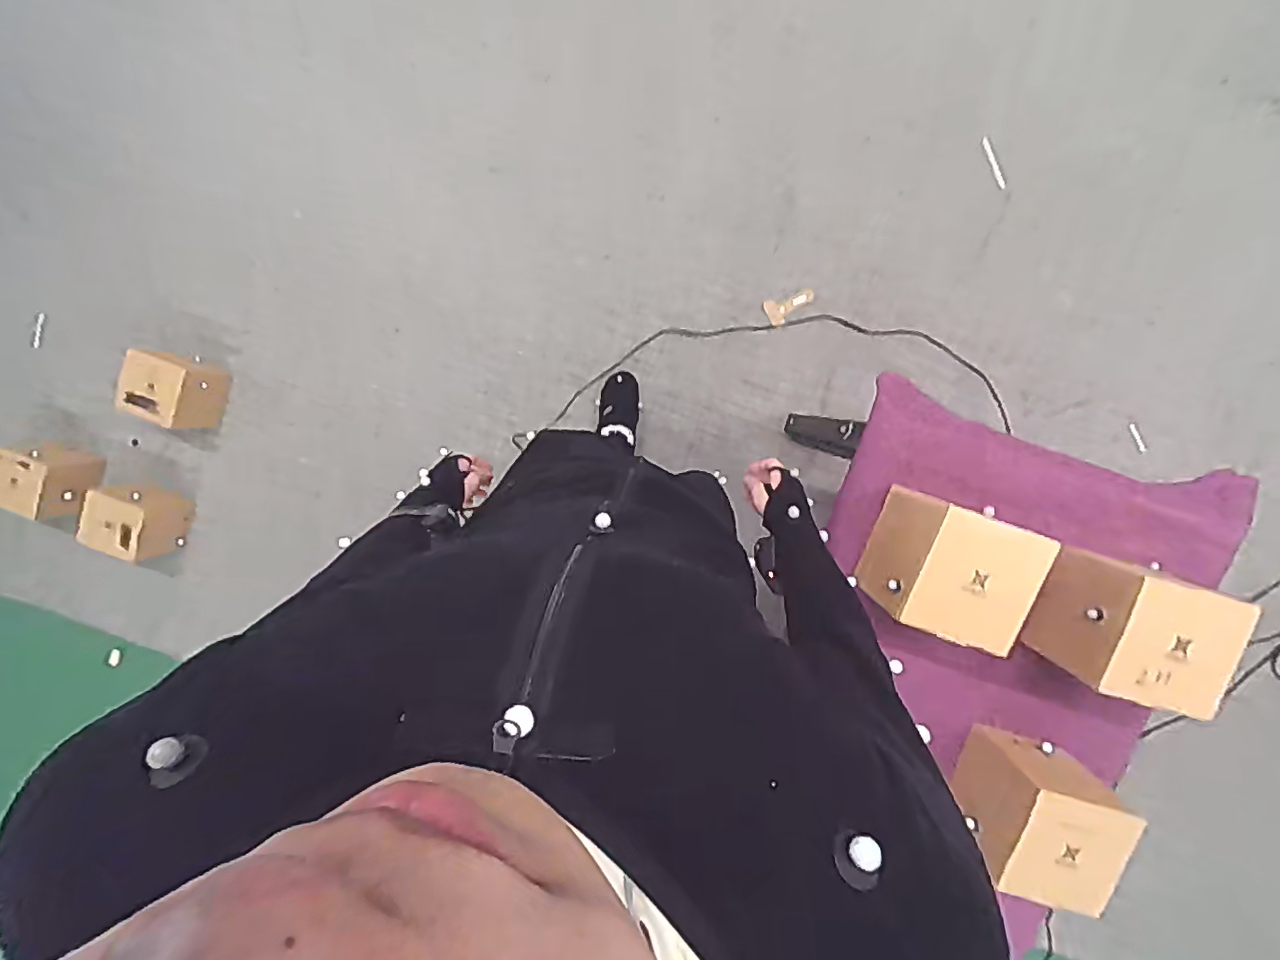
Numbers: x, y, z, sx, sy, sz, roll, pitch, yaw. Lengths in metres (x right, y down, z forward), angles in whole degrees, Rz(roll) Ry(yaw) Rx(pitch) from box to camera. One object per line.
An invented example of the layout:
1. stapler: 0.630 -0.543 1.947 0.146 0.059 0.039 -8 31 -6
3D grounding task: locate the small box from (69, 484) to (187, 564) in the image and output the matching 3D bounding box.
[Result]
1. small box: -1.490 0.121 1.585 0.179 0.176 0.168 21 98 -1

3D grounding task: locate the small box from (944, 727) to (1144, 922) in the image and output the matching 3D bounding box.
1. small box: 0.625 0.538 0.865 0.168 0.176 0.179 17 98 -1

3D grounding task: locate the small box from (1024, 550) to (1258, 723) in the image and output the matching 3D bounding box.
1. small box: 0.730 0.222 0.813 0.168 0.176 0.179 16 99 0

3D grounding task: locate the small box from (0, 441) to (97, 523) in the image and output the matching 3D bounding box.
1. small box: -1.752 -0.001 1.575 0.168 0.176 0.179 23 99 -2

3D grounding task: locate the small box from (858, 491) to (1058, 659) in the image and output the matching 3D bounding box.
1. small box: 0.455 0.128 0.807 0.168 0.176 0.179 19 99 -3
